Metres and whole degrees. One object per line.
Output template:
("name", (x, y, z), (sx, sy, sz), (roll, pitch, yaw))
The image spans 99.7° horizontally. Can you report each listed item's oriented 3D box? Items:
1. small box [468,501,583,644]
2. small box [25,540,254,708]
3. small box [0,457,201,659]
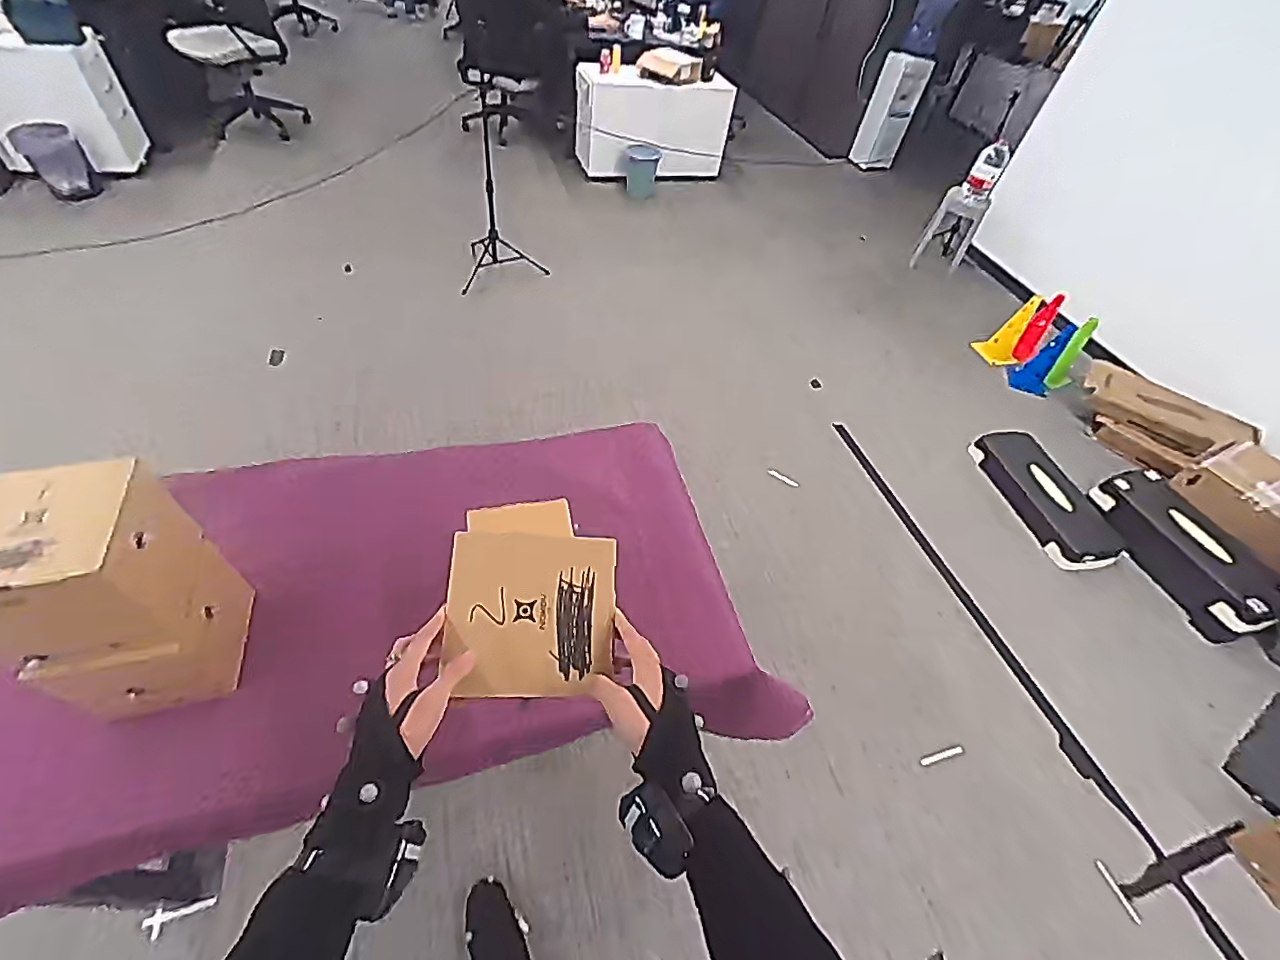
("small box", (-0.191, 0.161, 0.910), (0.168, 0.176, 0.179), (-7, 51, -14))
("small box", (-0.692, 0.212, 0.779), (0.168, 0.176, 0.179), (-6, 52, -15))
("small box", (-0.677, 0.100, 0.659), (0.168, 0.176, 0.179), (-10, 52, -17))
